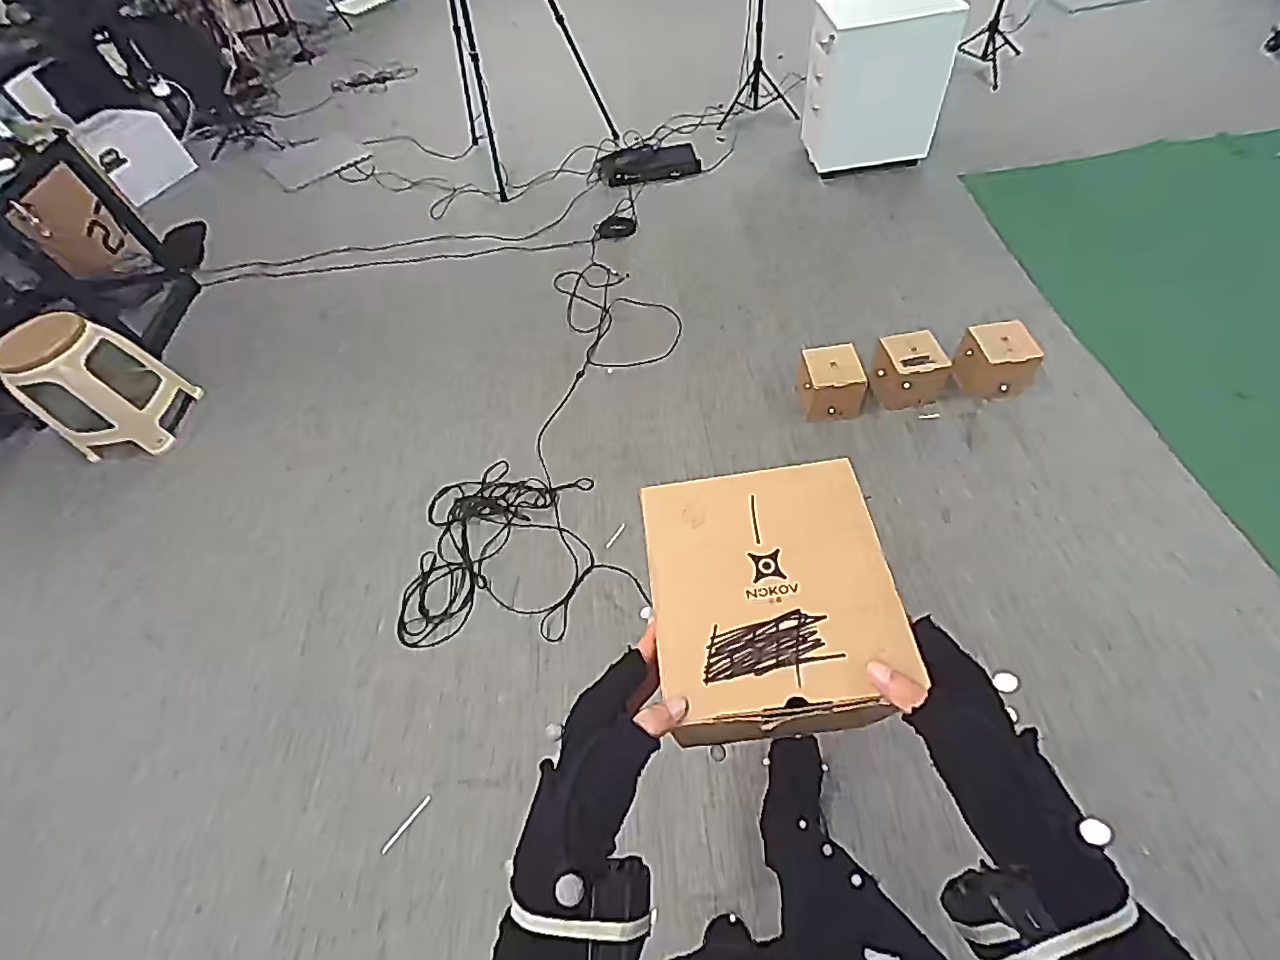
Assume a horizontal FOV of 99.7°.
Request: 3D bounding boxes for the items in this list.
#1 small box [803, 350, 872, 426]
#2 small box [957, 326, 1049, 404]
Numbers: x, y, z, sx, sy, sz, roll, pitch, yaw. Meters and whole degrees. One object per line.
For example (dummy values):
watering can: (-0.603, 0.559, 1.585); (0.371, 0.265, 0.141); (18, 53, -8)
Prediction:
small box: (0.649, -0.305, 1.801); (0.168, 0.176, 0.179); (-7, 55, 5)
small box: (1.173, -0.374, 1.766); (0.168, 0.176, 0.179); (-7, 55, 5)
